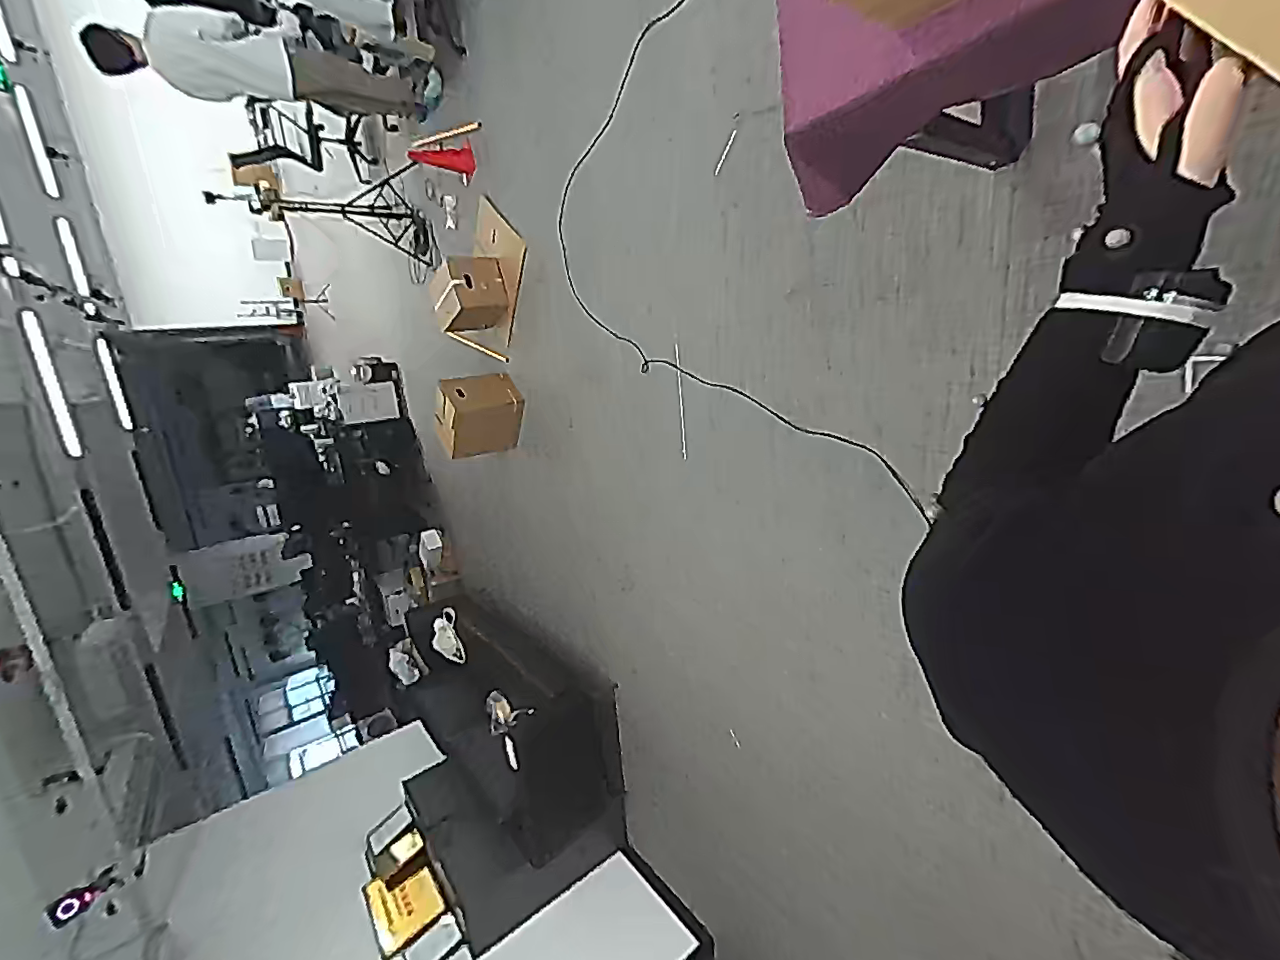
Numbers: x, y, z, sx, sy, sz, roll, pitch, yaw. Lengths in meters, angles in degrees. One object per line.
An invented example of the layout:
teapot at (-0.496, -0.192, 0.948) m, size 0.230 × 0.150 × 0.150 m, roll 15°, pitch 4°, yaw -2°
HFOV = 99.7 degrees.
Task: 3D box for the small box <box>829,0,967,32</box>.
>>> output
small box at (0.319, -0.632, 0.578) m, size 0.179 × 0.176 × 0.168 m, roll 13°, pitch 112°, yaw 52°
